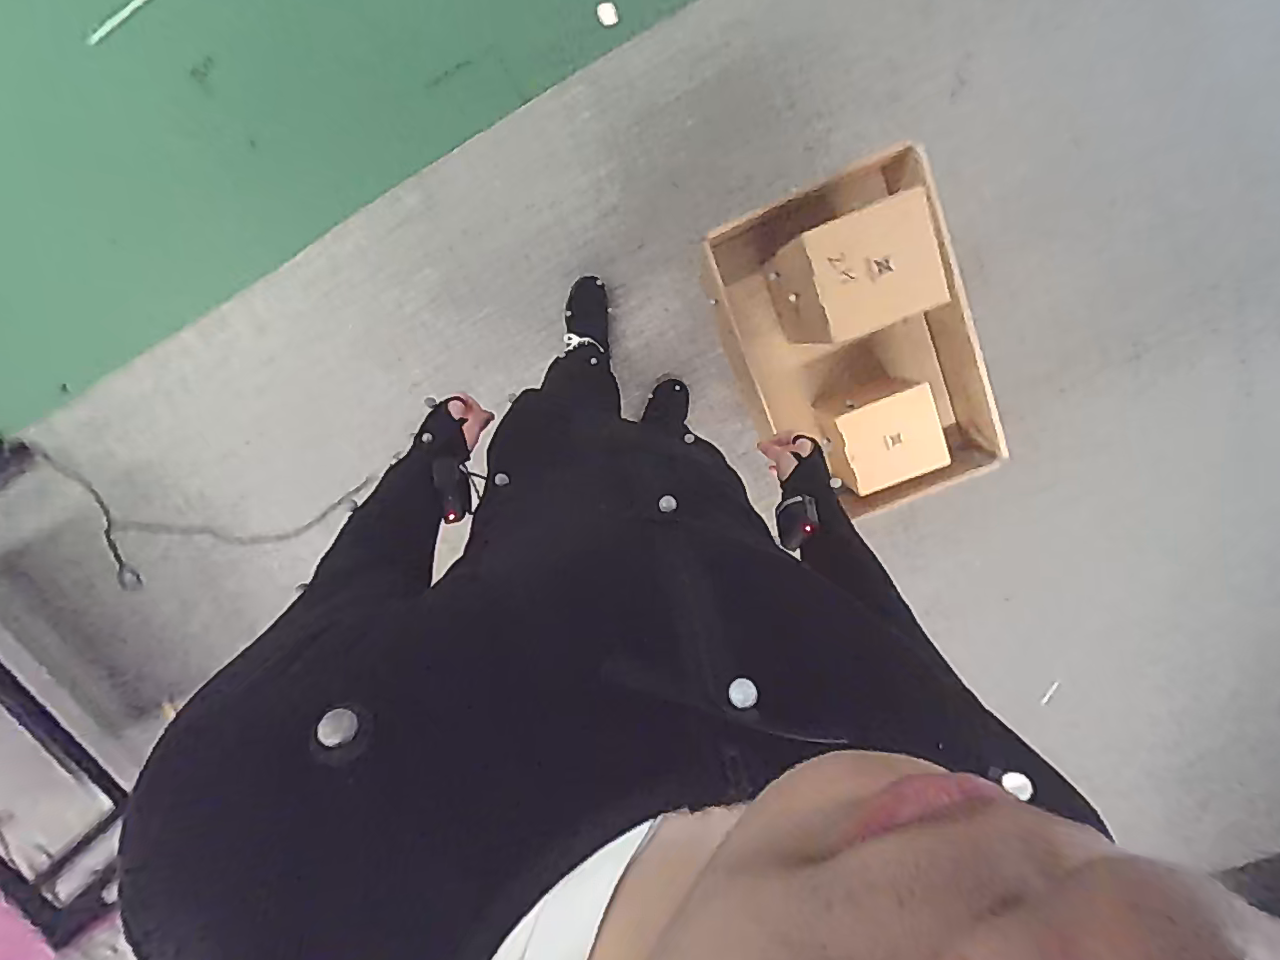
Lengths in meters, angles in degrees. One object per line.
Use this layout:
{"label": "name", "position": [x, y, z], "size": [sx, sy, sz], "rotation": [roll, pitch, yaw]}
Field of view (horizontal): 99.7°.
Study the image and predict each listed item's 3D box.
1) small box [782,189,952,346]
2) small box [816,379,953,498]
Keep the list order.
{"label": "small box", "position": [0.342, -0.319, 0.842], "size": [0.179, 0.176, 0.168], "rotation": [-19, 103, 7]}
{"label": "small box", "position": [0.475, -0.090, 1.071], "size": [0.179, 0.176, 0.168], "rotation": [-21, 104, 9]}
